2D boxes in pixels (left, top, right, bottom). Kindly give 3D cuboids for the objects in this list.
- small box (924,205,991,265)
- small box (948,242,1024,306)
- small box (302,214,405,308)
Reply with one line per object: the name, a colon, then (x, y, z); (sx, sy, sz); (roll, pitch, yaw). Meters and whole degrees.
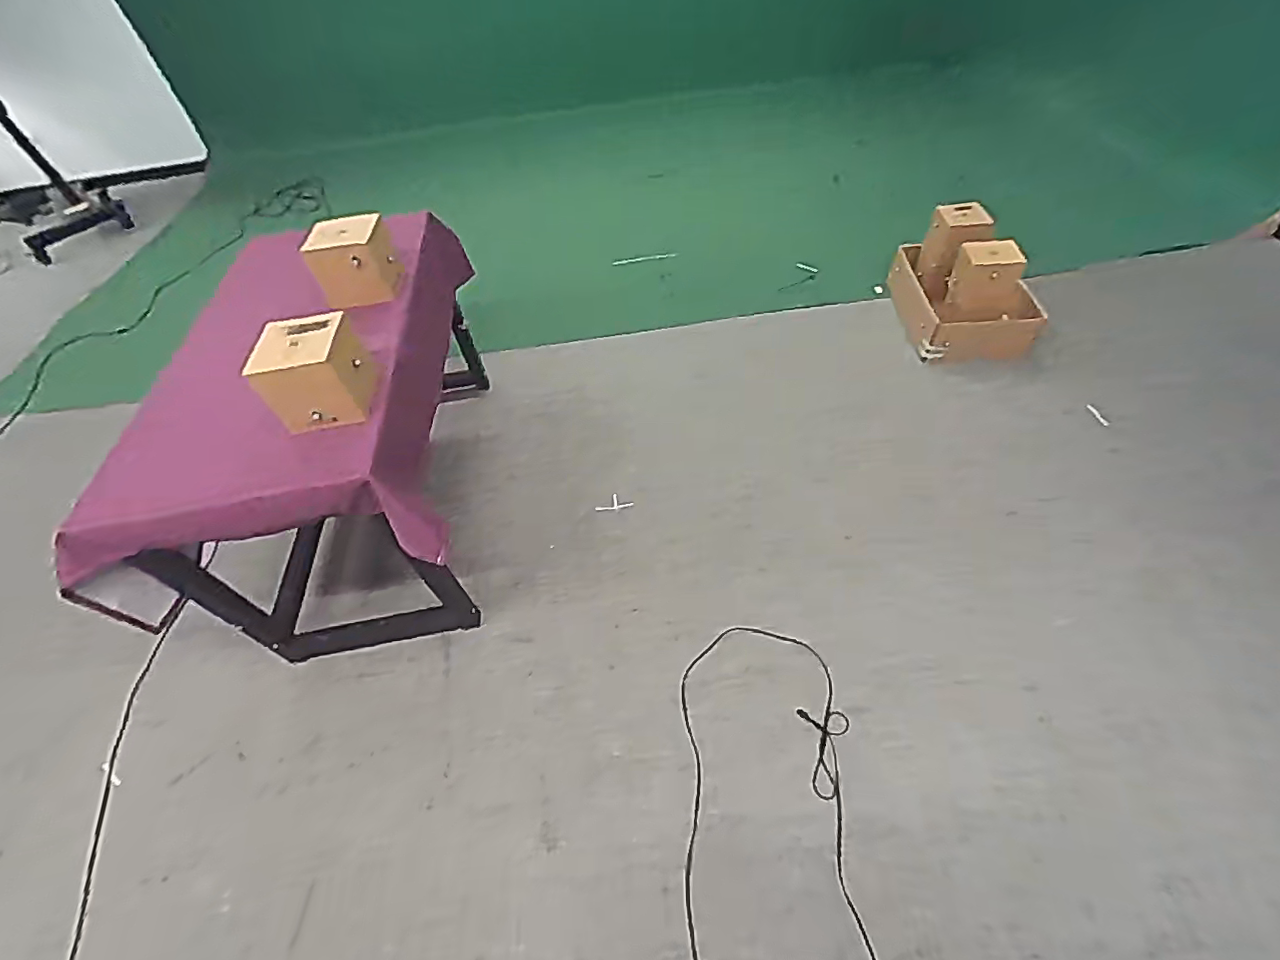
small box: (1.300, -1.012, 2.233); (0.168, 0.176, 0.179); (-2, 51, 4)
small box: (1.301, -0.777, 2.045); (0.179, 0.176, 0.168); (1, 50, 10)
small box: (-0.763, -0.590, 1.463); (0.179, 0.176, 0.168); (-8, 50, 1)
